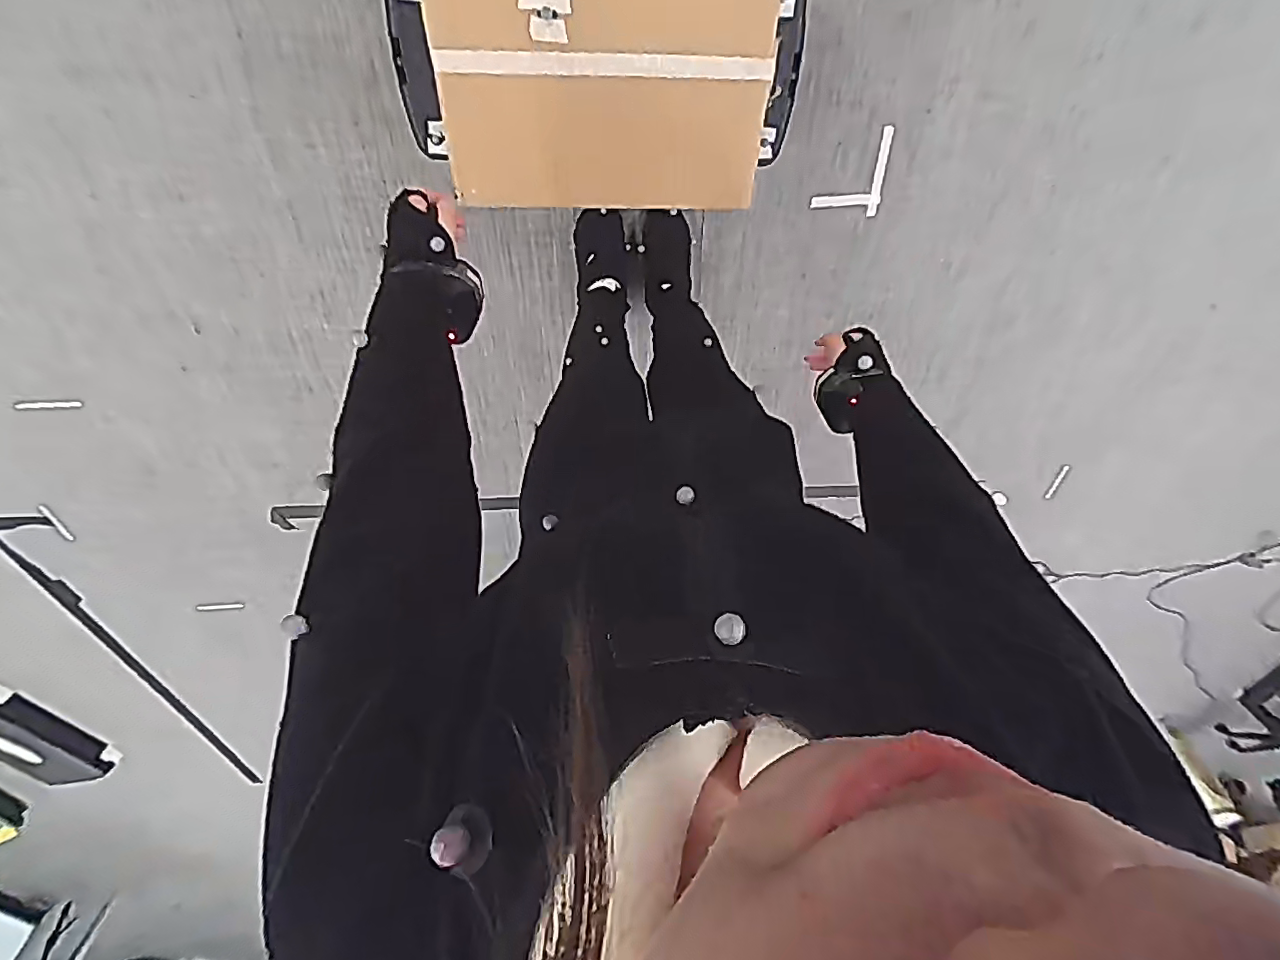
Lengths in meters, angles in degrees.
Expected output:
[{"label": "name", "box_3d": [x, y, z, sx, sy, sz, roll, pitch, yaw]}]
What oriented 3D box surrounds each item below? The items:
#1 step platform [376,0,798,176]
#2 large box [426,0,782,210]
[{"label": "step platform", "box_3d": [-0.082, -0.716, 0.946, 0.684, 0.204, 0.286, 3, 128, -7]}, {"label": "large box", "box_3d": [-0.046, -0.581, 0.751, 0.408, 0.320, 0.320, -1, 128, -4]}]
